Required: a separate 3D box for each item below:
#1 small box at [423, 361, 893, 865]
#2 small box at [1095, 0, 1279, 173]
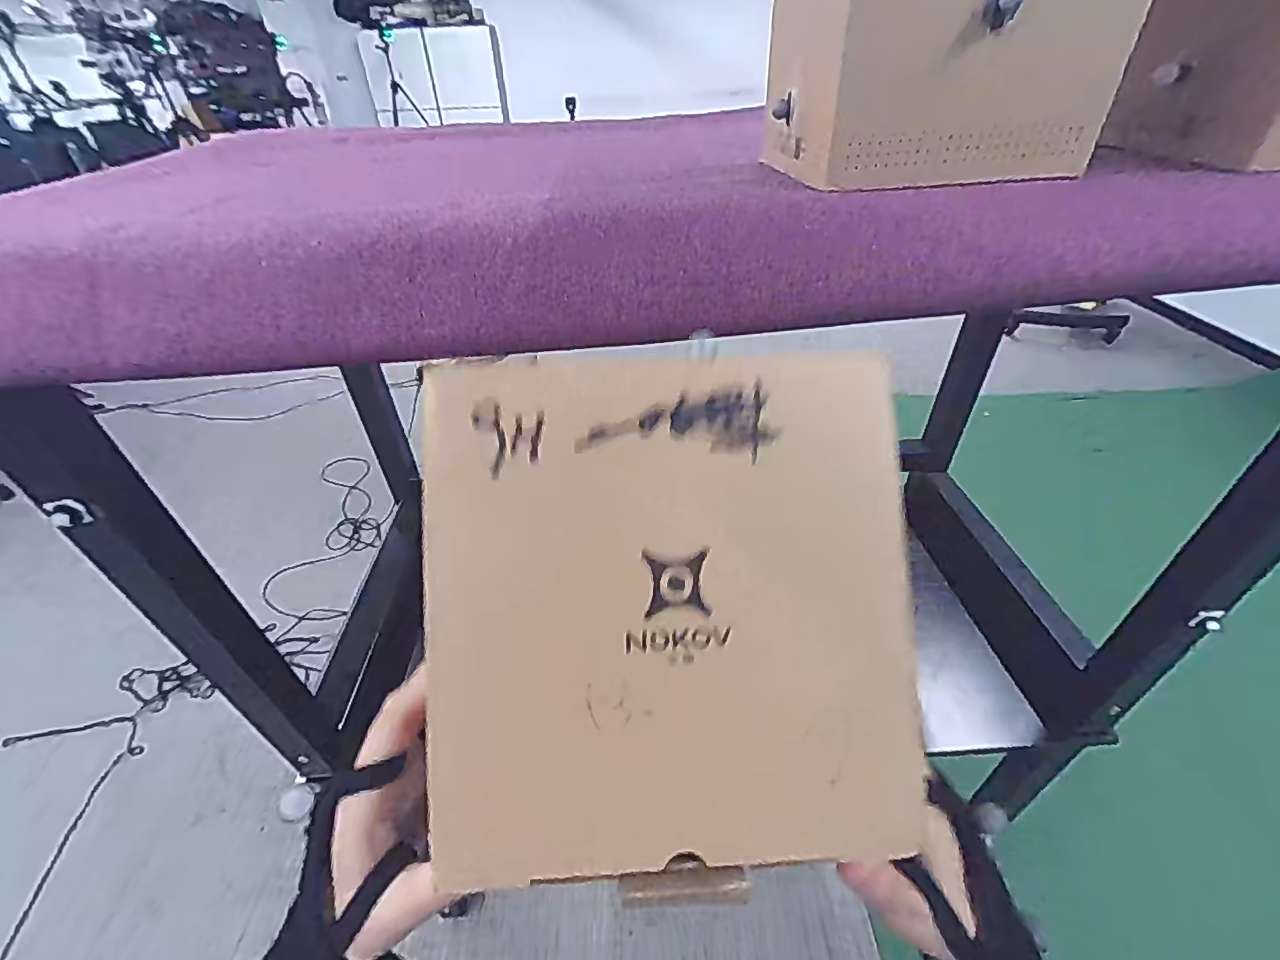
[{"bbox_3d":[0.003,0.048,0.271,0.168,0.179,0.176,-1,-4,-4],"label":"small box"},{"bbox_3d":[0.477,-0.320,0.365,0.179,0.176,0.168,-3,38,1],"label":"small box"}]
